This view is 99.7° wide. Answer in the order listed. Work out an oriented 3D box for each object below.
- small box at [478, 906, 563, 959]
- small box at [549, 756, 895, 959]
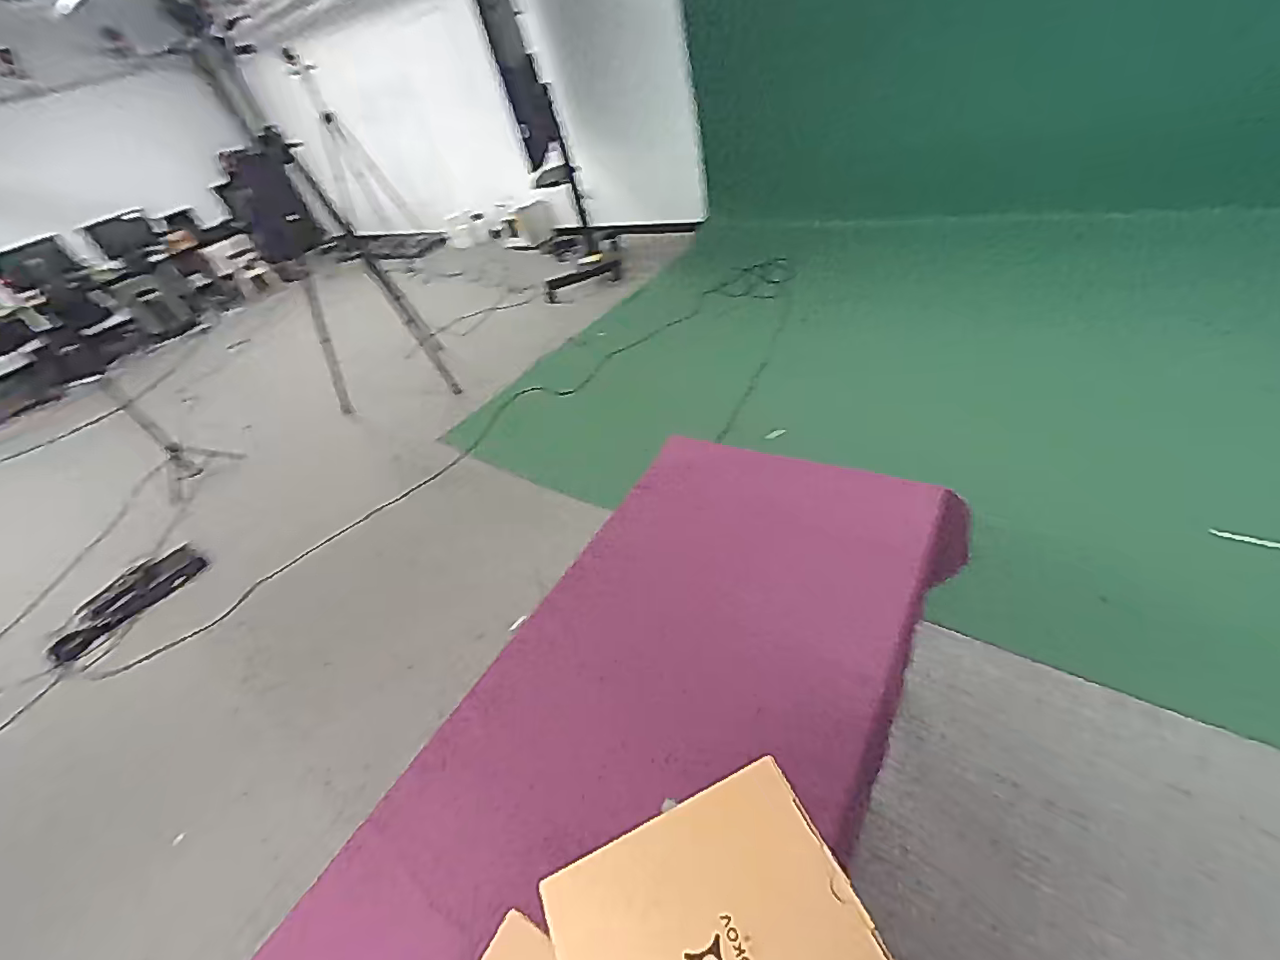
[{"bbox_3d":[-0.081,0.558,0.512,0.179,0.176,0.168,12,47,31],"label":"small box"},{"bbox_3d":[0.062,0.330,0.361,0.179,0.176,0.168,-22,43,-10],"label":"small box"}]
